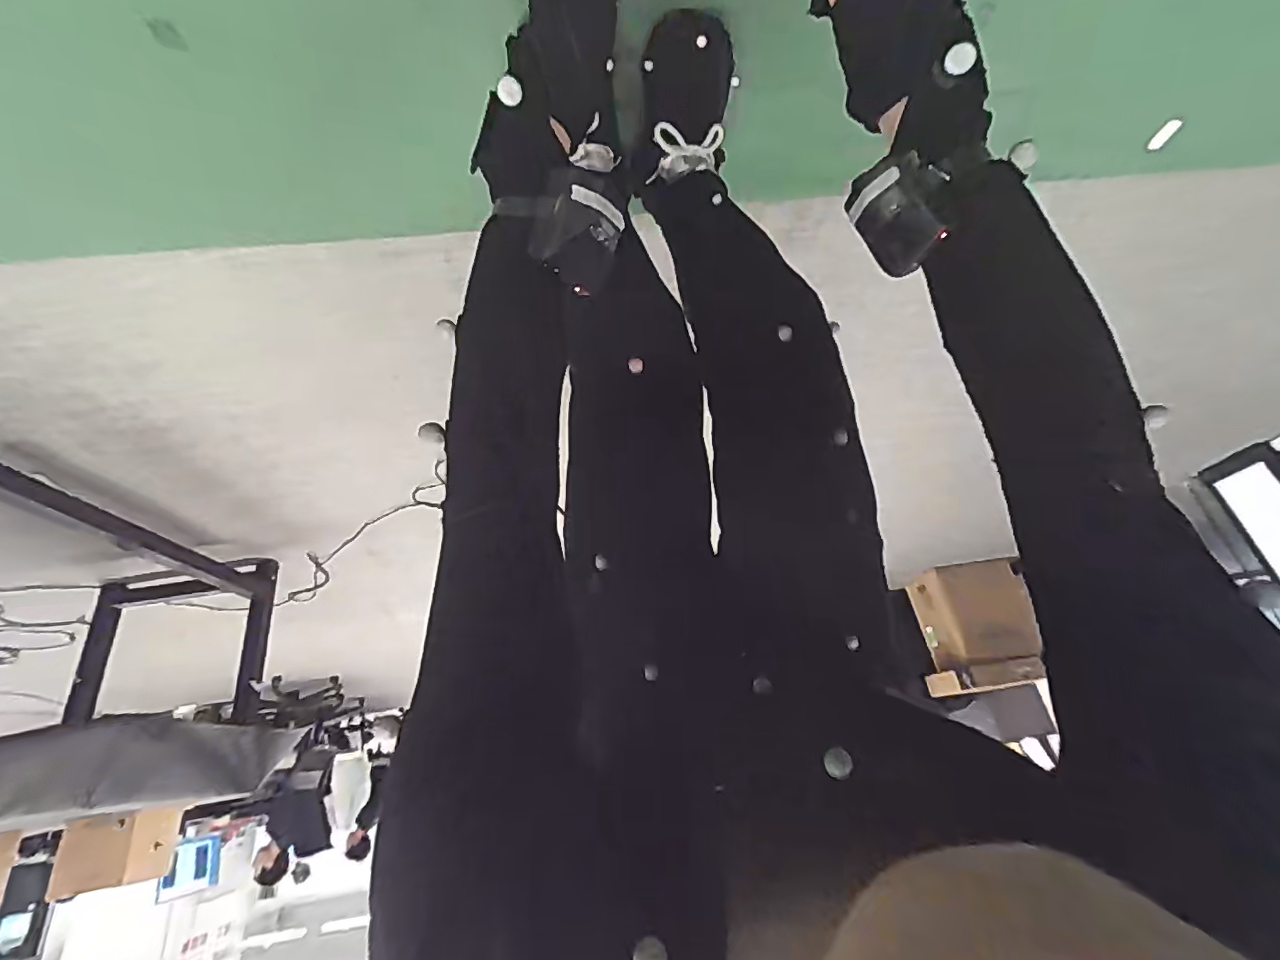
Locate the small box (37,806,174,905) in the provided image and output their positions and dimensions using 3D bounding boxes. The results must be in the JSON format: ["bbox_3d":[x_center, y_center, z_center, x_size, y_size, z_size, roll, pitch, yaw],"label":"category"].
[{"bbox_3d":[-1.351,0.950,1.383,0.168,0.176,0.179,-6,154,-7],"label":"small box"}]
